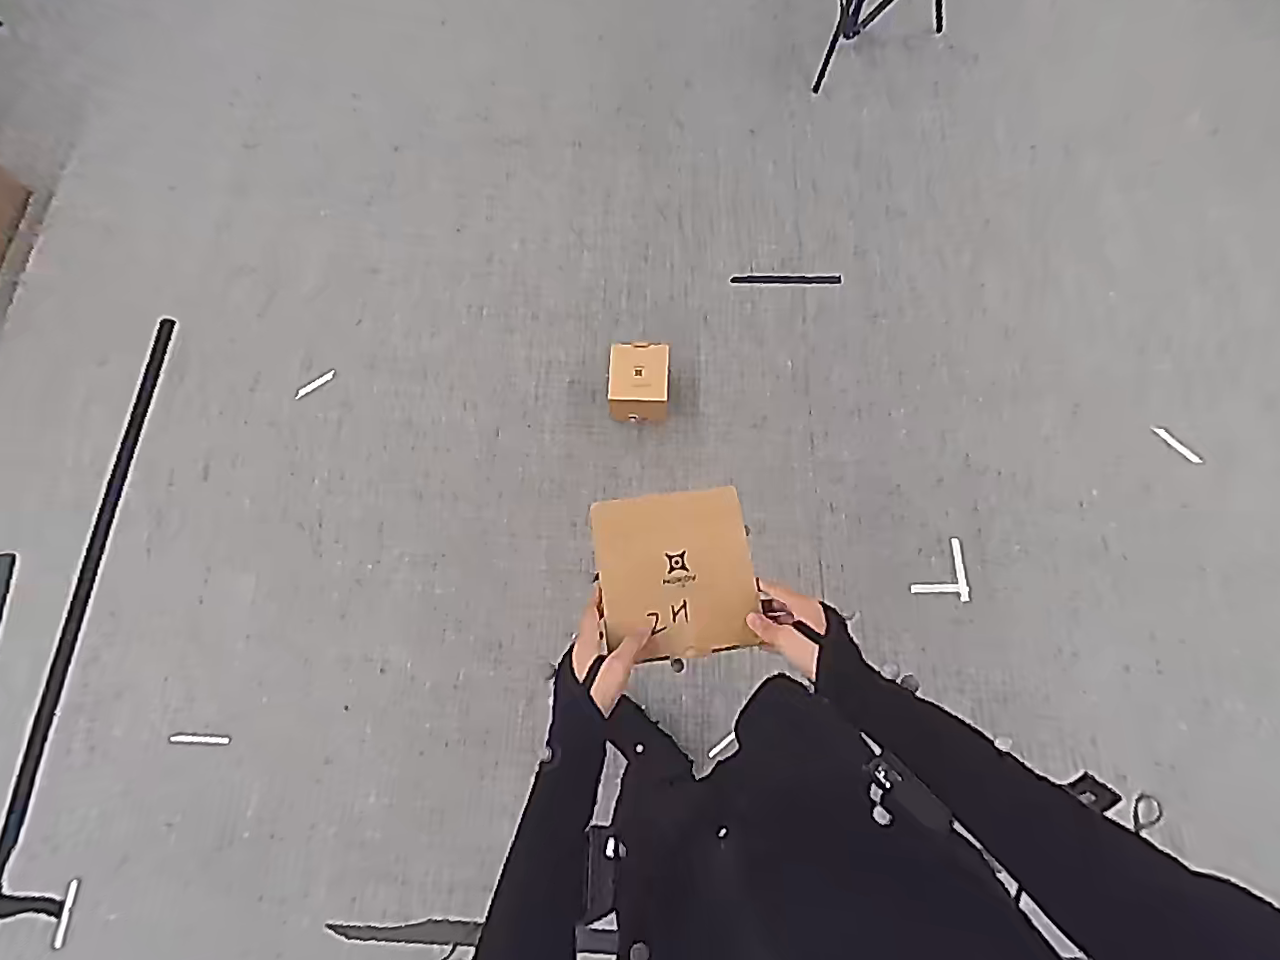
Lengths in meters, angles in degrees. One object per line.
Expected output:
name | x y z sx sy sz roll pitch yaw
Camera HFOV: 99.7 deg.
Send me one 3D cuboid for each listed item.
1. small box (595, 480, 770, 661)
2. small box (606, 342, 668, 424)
small box | 0.035 0.114 0.637 0.168 0.176 0.179 -6 73 -6
small box | -0.005 -0.279 1.567 0.168 0.176 0.179 2 74 3
